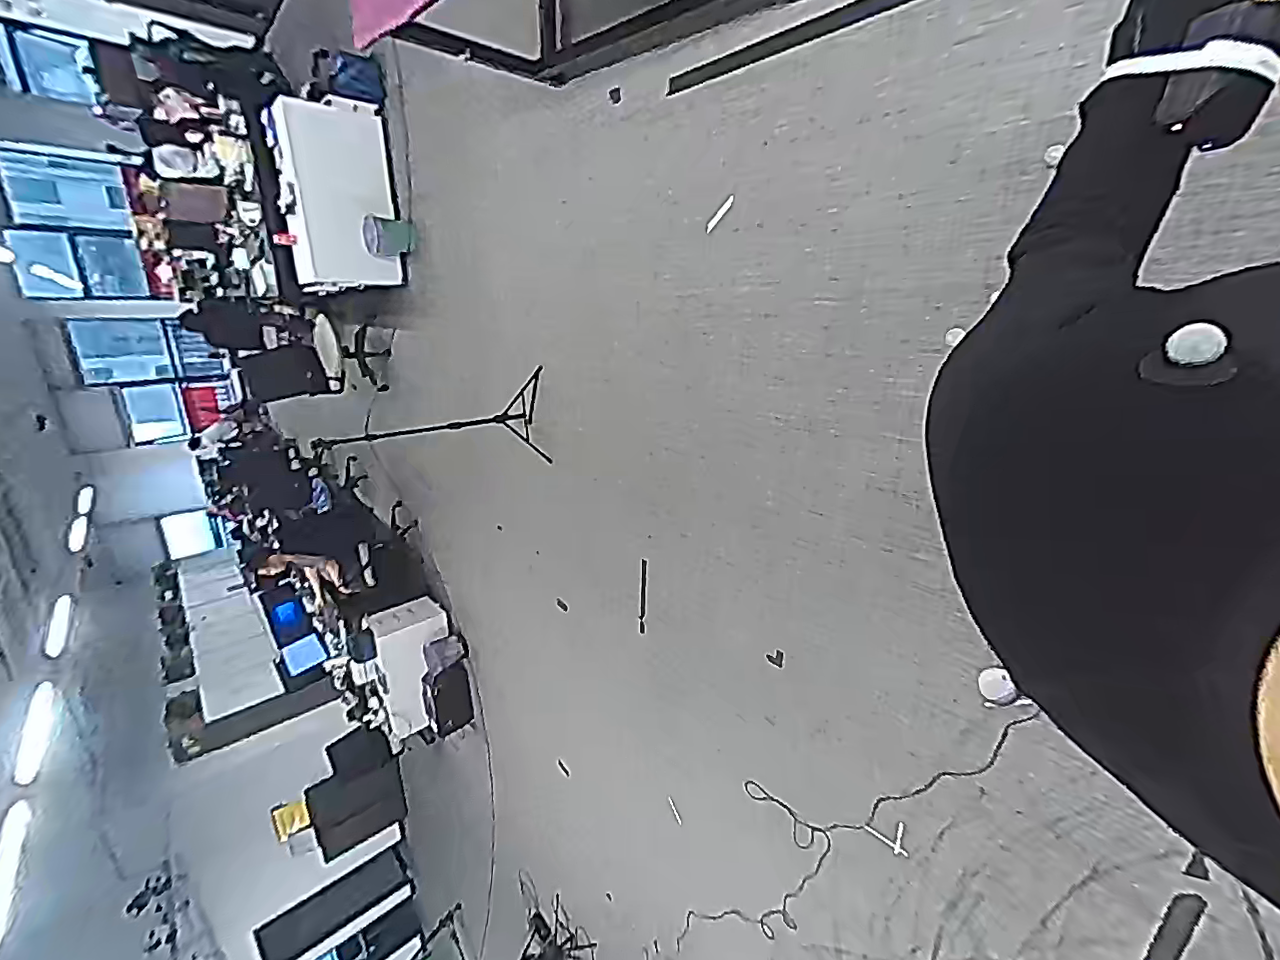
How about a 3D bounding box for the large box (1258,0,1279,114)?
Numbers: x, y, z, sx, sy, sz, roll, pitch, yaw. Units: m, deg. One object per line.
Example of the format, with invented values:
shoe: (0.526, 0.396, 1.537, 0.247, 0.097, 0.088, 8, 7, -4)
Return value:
large box: (0.630, -0.390, 0.233, 0.408, 0.320, 0.320, 28, 124, 44)
